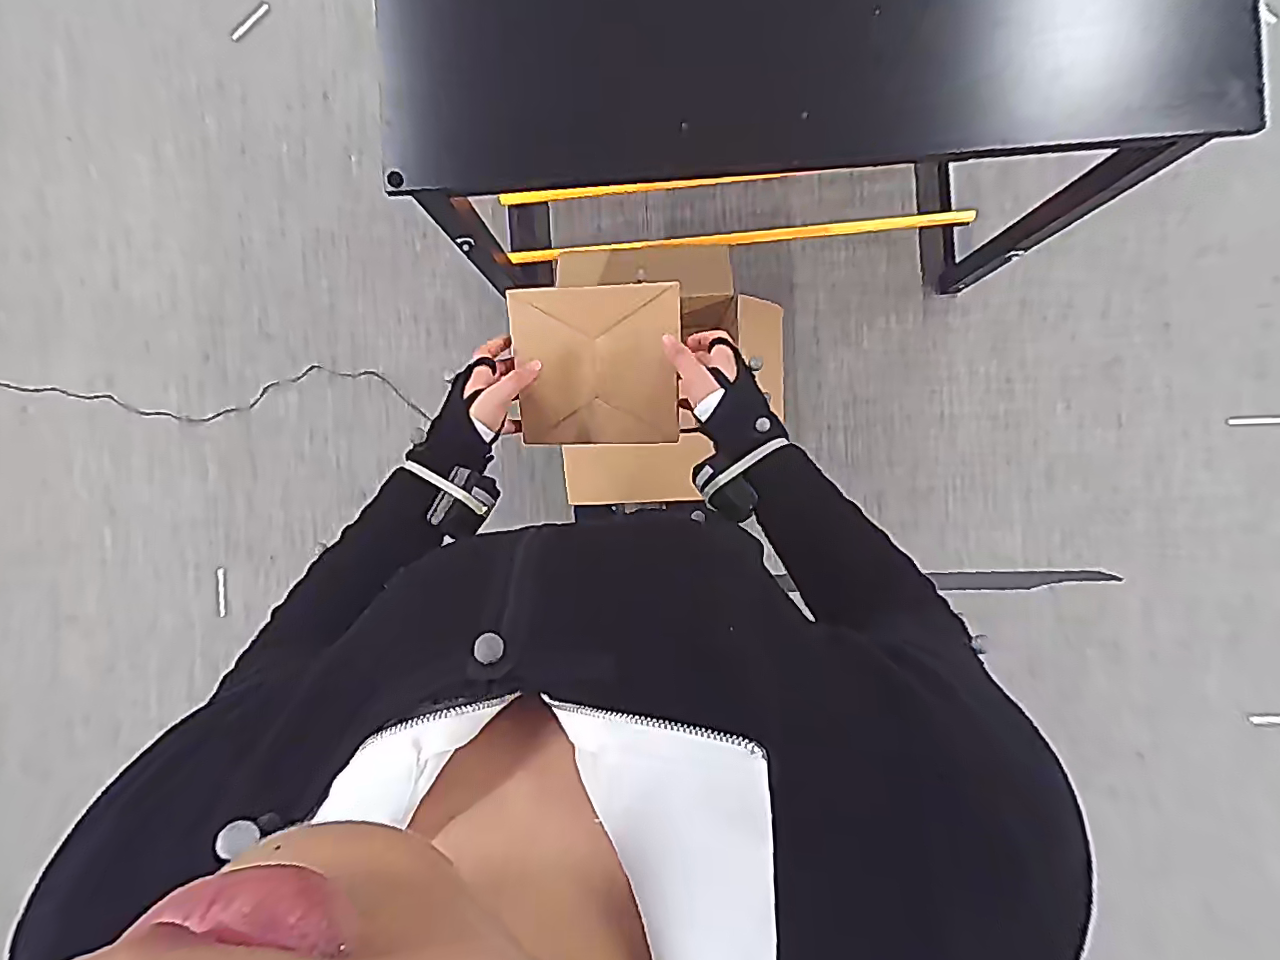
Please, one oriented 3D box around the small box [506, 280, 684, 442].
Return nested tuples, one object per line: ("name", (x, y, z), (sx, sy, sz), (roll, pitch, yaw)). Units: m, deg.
("small box", (-0.040, -0.146, 0.646), (0.179, 0.176, 0.168), (-1, 110, 7))
